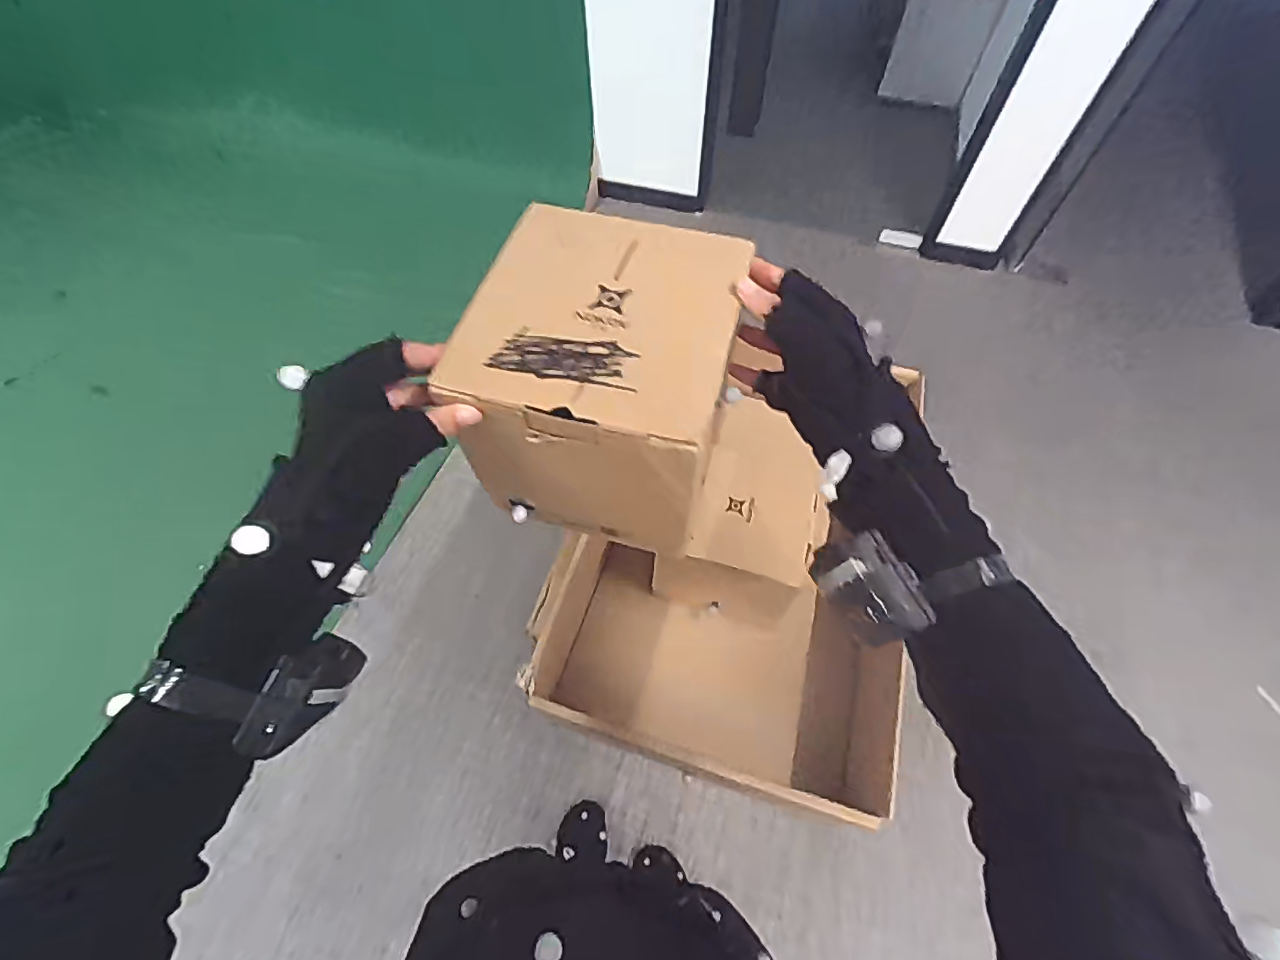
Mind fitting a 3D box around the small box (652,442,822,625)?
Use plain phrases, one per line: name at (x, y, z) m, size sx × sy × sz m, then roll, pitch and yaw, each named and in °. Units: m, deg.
small box at (0.124, 0.079, 0.731) m, size 0.179 × 0.176 × 0.168 m, roll 16°, pitch 58°, yaw 8°
